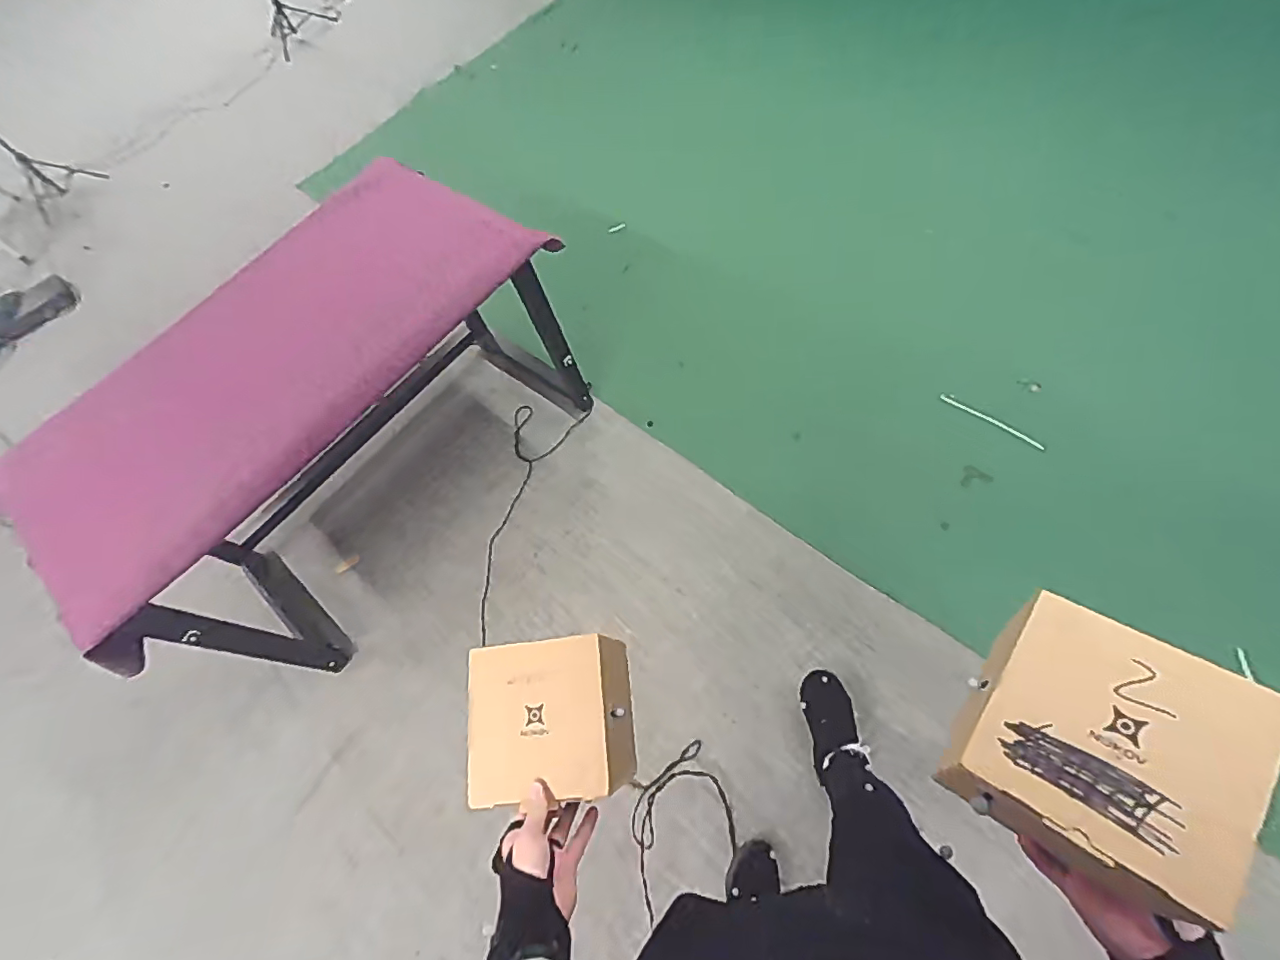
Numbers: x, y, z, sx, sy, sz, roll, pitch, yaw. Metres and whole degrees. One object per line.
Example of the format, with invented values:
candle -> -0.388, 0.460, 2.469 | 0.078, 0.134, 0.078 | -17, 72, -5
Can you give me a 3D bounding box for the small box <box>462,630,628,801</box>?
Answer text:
small box -> -0.114, 0.296, 0.702 | 0.168, 0.176, 0.179 | -8, 69, 7
